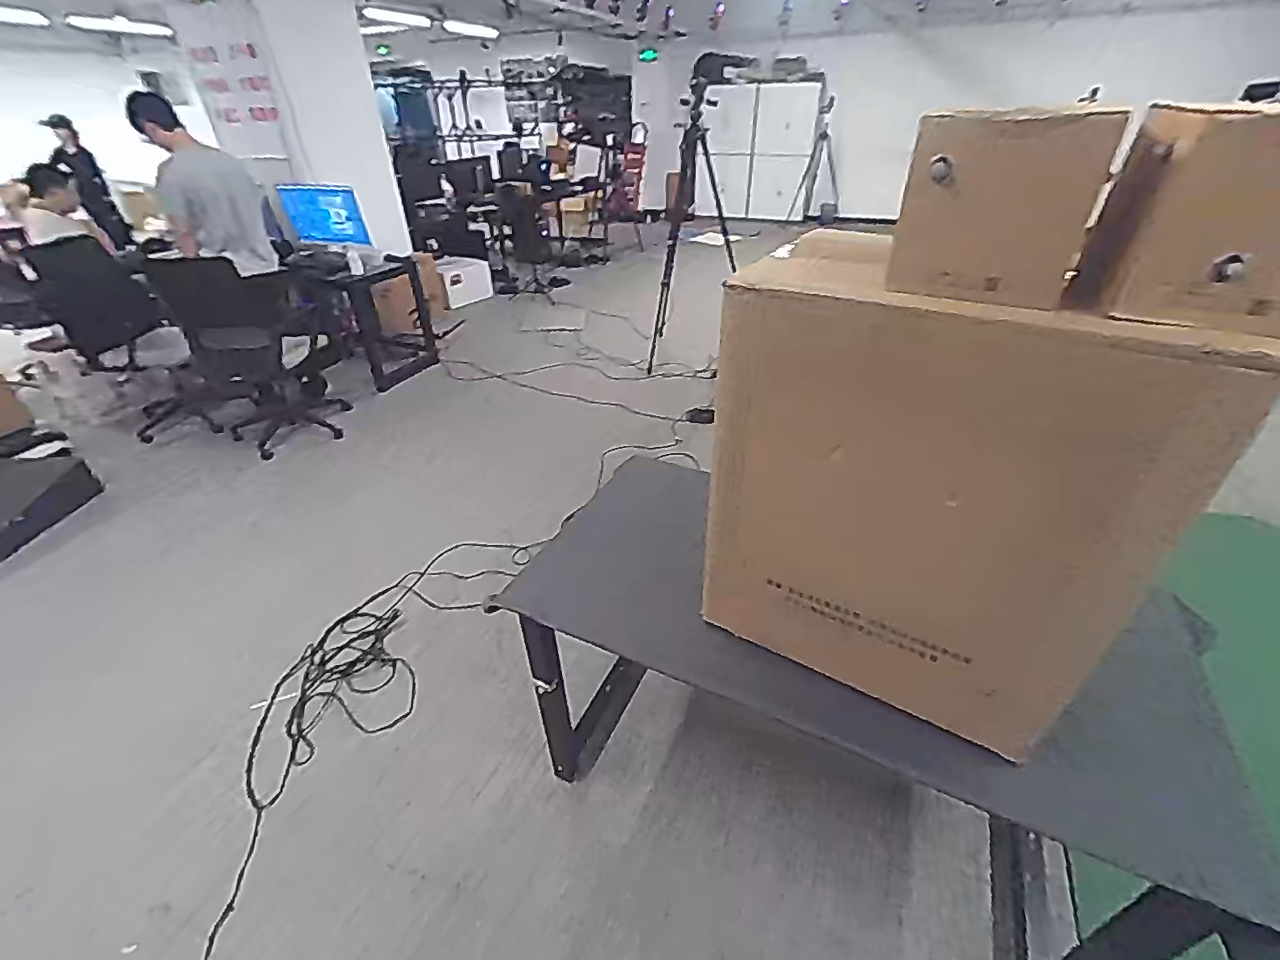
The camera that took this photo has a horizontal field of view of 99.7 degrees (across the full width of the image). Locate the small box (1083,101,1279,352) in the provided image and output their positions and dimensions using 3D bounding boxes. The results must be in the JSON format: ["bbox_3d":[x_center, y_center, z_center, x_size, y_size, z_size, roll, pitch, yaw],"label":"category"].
[{"bbox_3d":[0.555,-0.238,0.498,0.168,0.176,0.179,15,41,17],"label":"small box"}]
